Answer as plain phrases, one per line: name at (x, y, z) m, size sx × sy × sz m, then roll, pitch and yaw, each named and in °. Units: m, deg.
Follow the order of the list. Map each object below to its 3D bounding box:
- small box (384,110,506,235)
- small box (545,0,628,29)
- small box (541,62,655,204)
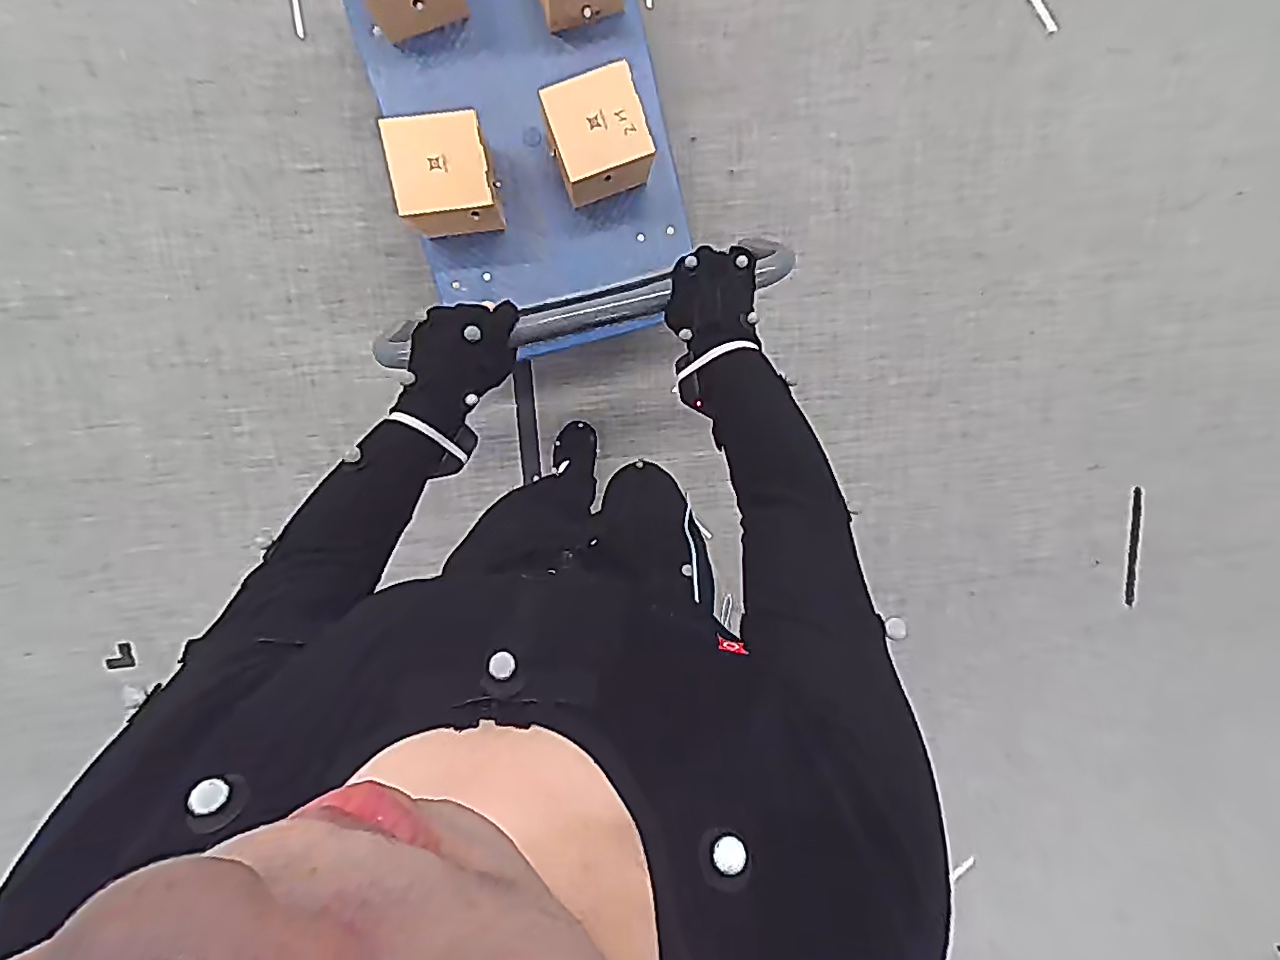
small box at (-0.377, -0.602, 1.077) m, size 0.179 × 0.176 × 0.168 m, roll -10°, pitch 102°, yaw -5°
small box at (-0.118, -1.012, 1.019) m, size 0.168 × 0.176 × 0.179 m, roll -18°, pitch 104°, yaw -2°
small box at (-0.082, -0.684, 1.088) m, size 0.179 × 0.176 × 0.168 m, roll -20°, pitch 103°, yaw -1°
